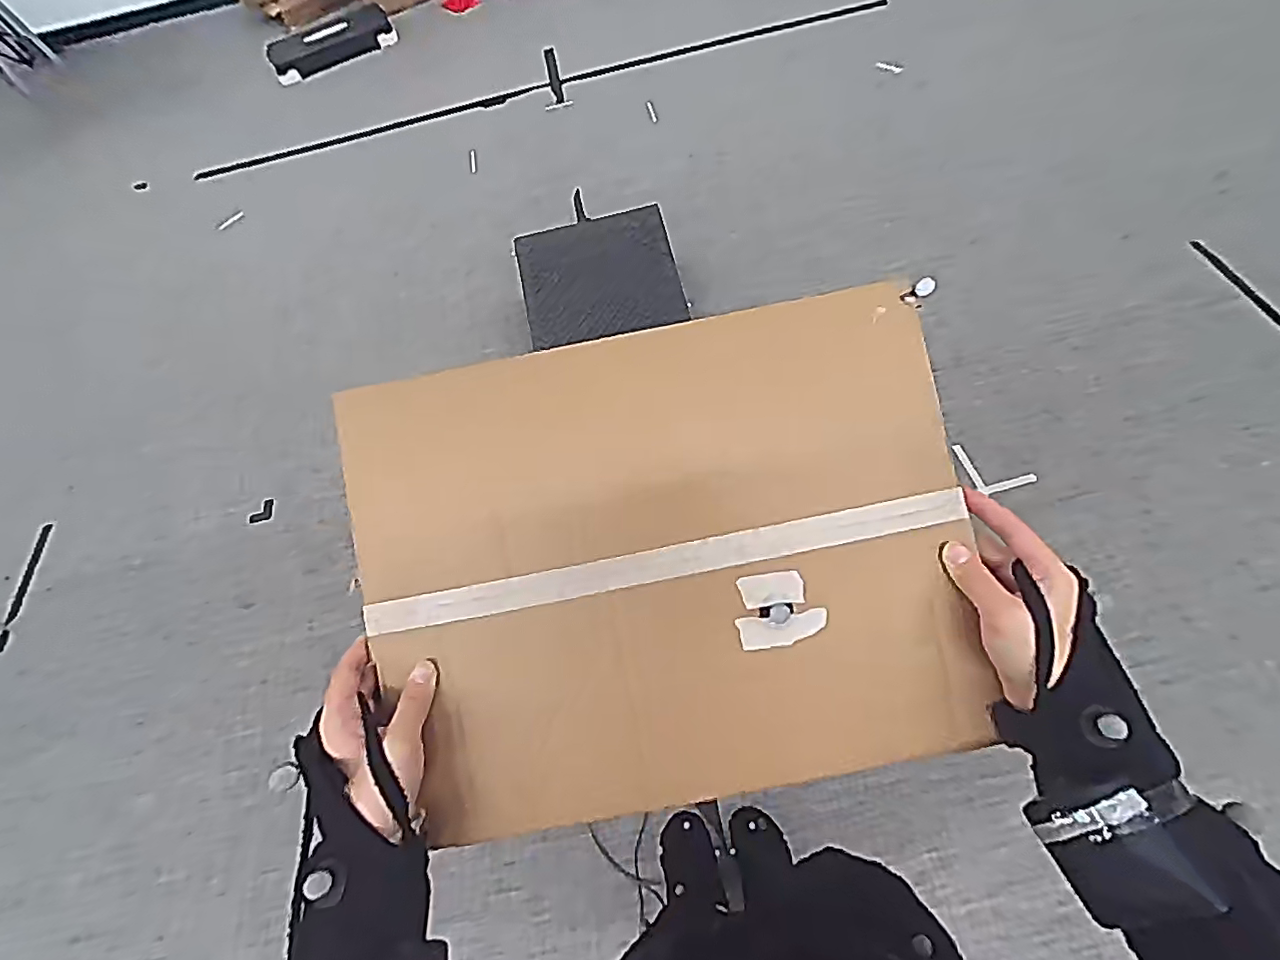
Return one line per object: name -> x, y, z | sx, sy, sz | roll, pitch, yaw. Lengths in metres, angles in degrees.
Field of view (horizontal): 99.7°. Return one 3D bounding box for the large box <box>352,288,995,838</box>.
large box -> 0.018, 0.064, 0.522 | 0.408, 0.320, 0.320 | -11, 86, 0
